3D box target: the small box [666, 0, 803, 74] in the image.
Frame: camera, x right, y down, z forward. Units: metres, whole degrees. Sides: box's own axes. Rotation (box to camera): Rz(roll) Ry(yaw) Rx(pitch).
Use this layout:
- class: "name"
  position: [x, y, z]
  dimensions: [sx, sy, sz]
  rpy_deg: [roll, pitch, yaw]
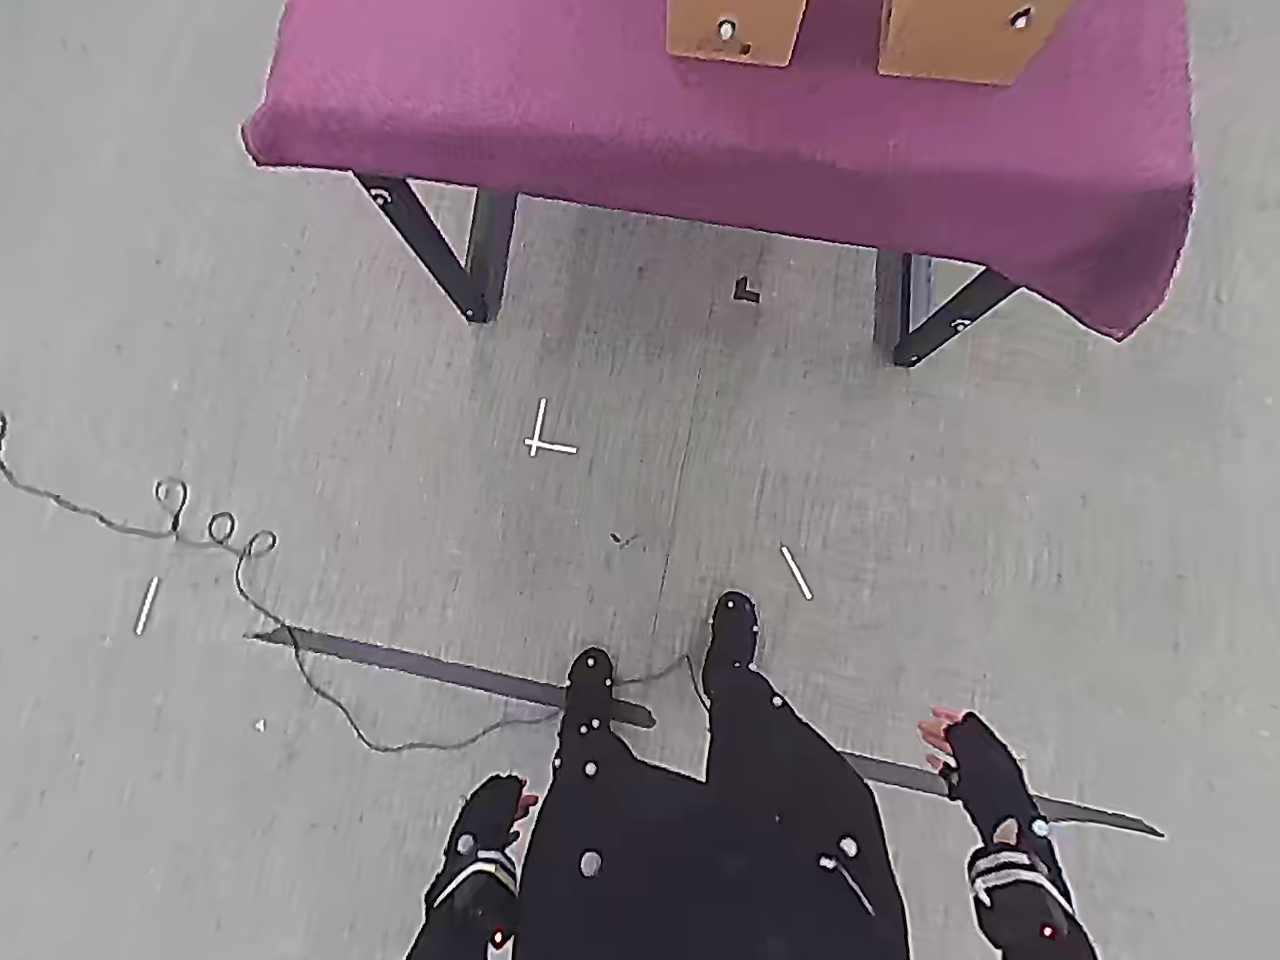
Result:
- class: "small box"
  position: [0.123, -0.655, 0.665]
  dimensions: [0.168, 0.176, 0.179]
  rpy_deg: [7, 82, 3]

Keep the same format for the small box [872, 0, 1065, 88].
- class: "small box"
  position: [0.405, -0.617, 0.656]
  dimensions: [0.179, 0.176, 0.168]
  rpy_deg: [6, 80, 3]
